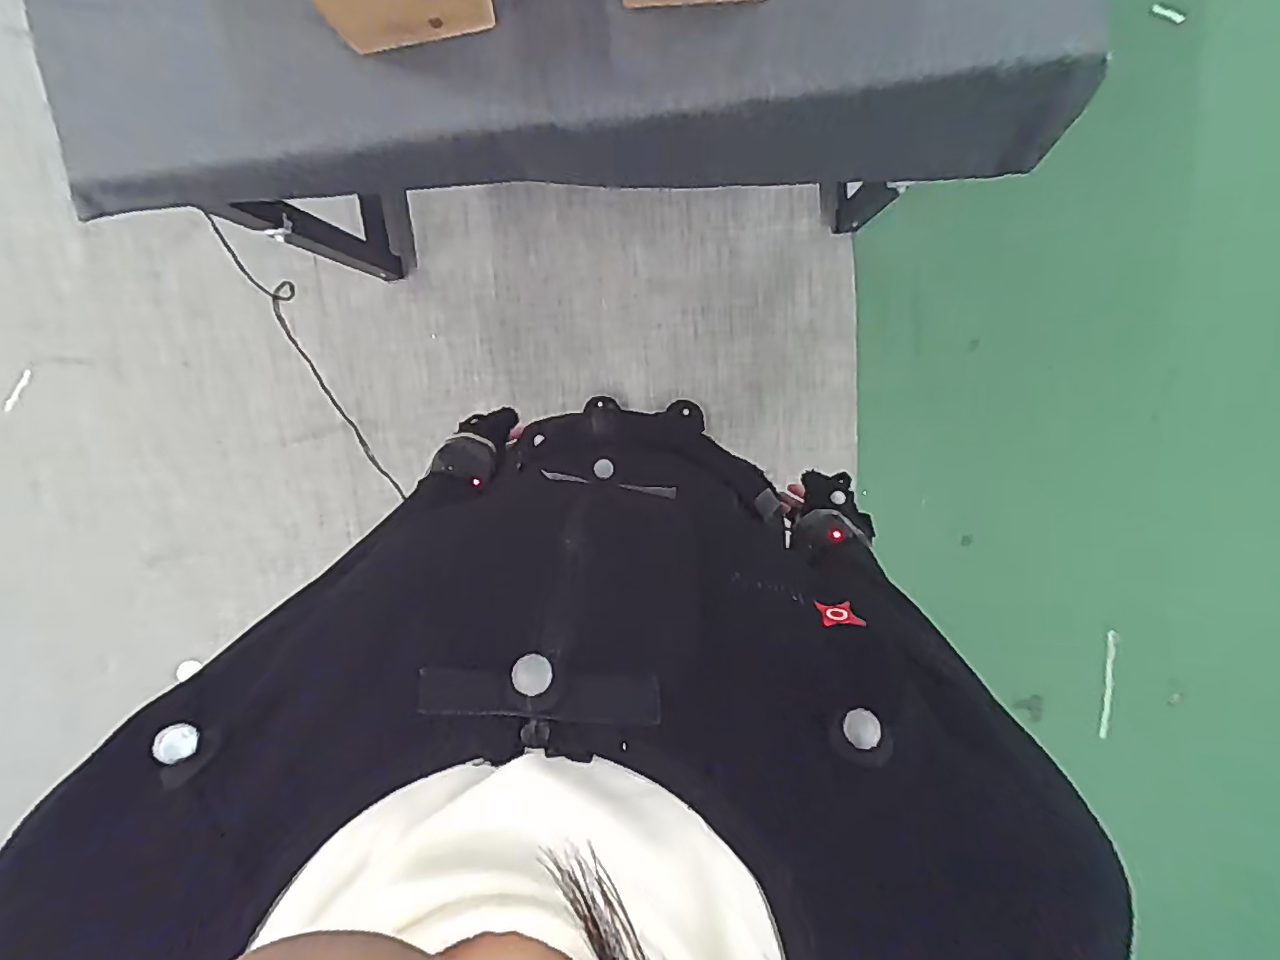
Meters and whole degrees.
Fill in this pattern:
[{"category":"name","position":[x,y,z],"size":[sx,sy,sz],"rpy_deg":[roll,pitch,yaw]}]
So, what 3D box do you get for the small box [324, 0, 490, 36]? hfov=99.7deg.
[{"category":"small box","position":[-0.260,-0.579,0.527],"size":[0.168,0.176,0.179],"rpy_deg":[-9,97,2]}]
